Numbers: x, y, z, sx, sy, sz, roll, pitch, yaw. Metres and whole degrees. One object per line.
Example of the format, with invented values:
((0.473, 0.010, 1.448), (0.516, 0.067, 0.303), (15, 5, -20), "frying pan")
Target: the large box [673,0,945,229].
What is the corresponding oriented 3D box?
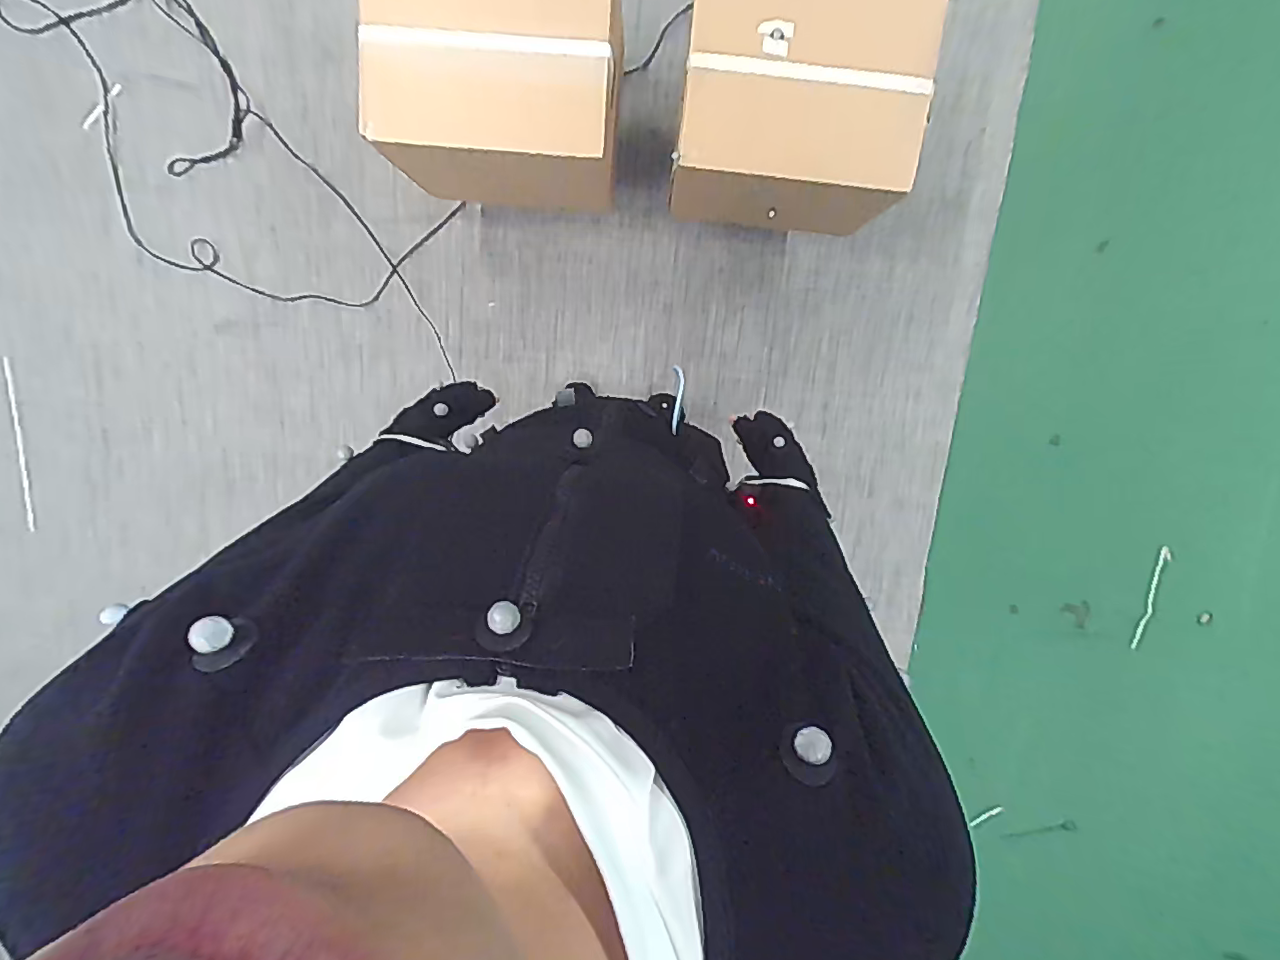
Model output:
((0.285, -0.697, 1.043), (0.408, 0.320, 0.320), (7, 101, -1), "large box")
